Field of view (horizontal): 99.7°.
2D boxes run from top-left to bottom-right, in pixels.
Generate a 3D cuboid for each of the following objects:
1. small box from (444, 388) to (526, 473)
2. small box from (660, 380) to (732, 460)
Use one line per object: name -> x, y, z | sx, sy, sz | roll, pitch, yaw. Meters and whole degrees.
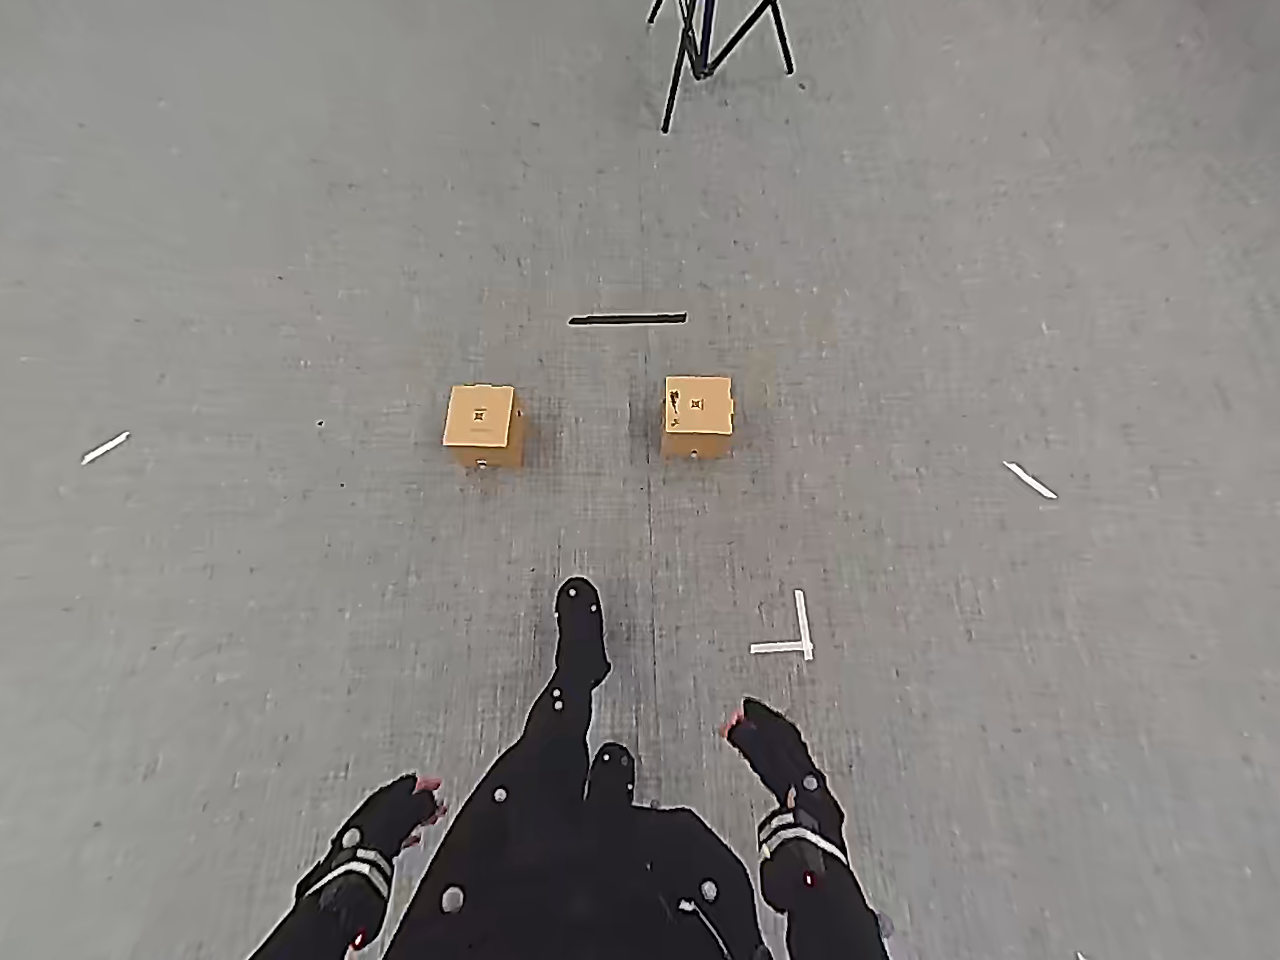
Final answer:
small box -> -0.413, -0.132, 1.470 | 0.168, 0.176, 0.179 | 1, 71, 1
small box -> 0.150, -0.159, 1.486 | 0.179, 0.176, 0.168 | 2, 71, -1
